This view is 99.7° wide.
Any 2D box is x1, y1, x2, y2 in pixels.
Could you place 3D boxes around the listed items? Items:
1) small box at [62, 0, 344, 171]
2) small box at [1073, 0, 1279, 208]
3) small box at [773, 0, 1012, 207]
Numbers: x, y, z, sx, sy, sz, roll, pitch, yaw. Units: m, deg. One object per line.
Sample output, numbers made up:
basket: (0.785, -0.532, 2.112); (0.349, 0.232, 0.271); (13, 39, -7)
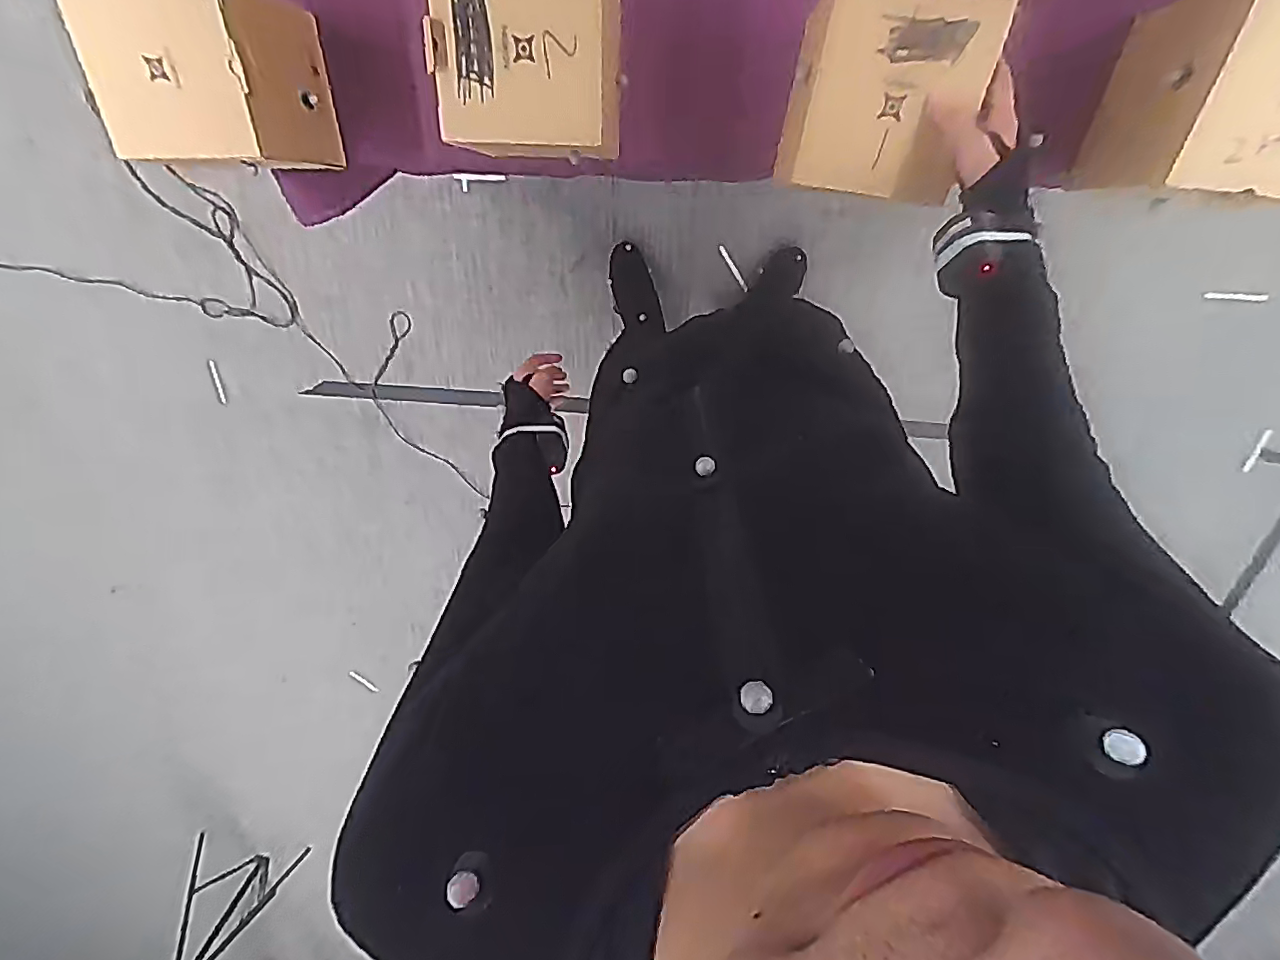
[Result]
small box: (-0.496, -0.467, 0.642); (0.179, 0.176, 0.168); (1, 117, 3)
small box: (0.619, -0.397, 0.573); (0.168, 0.176, 0.179); (9, 117, 2)
small box: (0.254, -0.413, 0.601); (0.168, 0.176, 0.179); (9, 119, 1)
